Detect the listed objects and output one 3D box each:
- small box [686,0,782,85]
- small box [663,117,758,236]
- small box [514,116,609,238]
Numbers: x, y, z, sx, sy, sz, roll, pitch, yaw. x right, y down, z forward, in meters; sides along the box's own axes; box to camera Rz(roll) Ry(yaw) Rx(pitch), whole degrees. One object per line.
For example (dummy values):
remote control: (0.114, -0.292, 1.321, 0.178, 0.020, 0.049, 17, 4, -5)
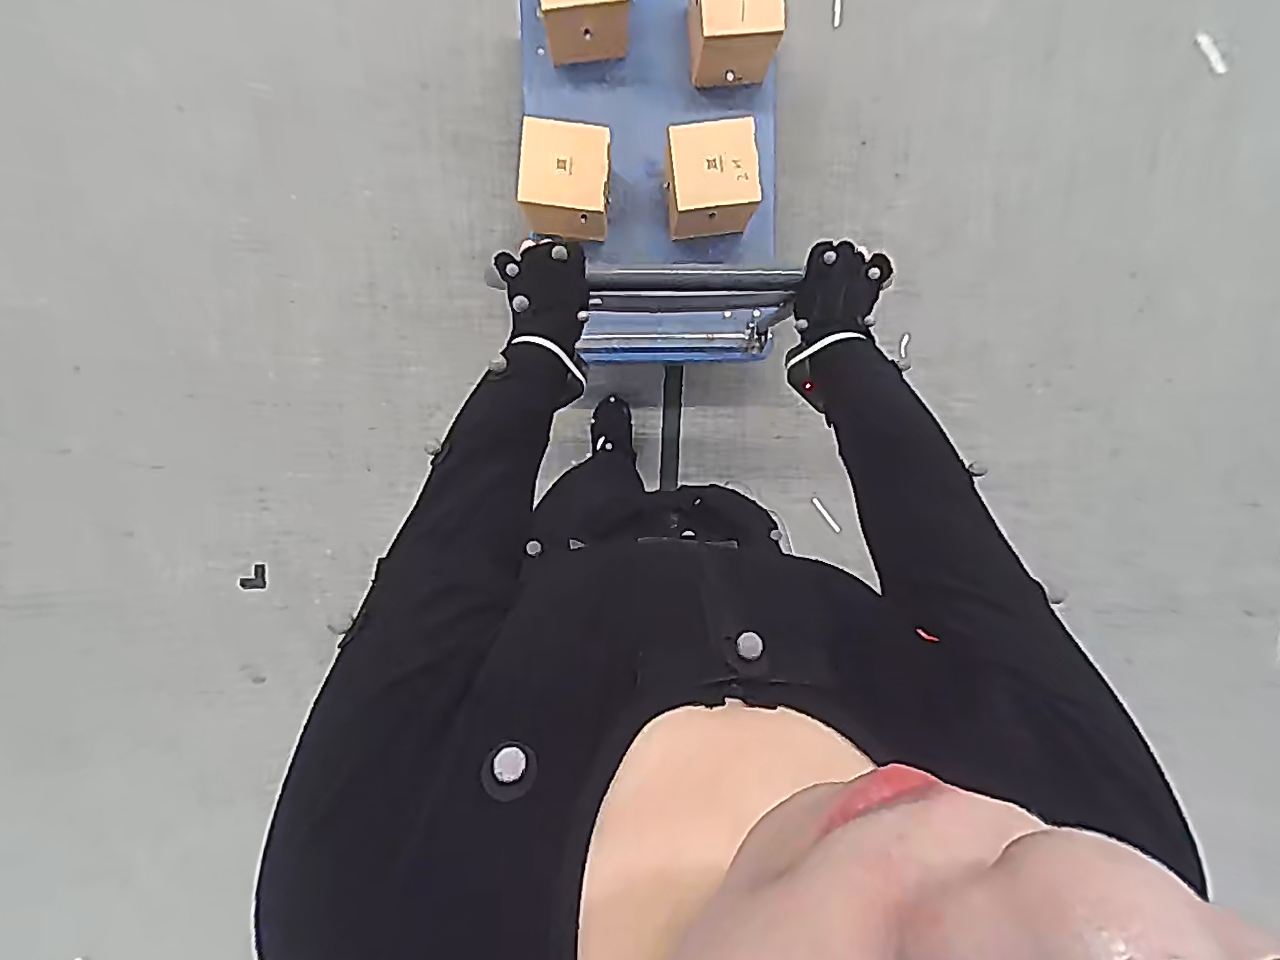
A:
small box: (0.190, -0.975, 1.135, 0.168, 0.176, 0.179, -5, 96, -1)
small box: (0.144, -0.642, 1.164, 0.179, 0.176, 0.168, -7, 96, -1)
small box: (-0.161, -0.636, 1.154, 0.179, 0.176, 0.168, 5, 95, -4)
